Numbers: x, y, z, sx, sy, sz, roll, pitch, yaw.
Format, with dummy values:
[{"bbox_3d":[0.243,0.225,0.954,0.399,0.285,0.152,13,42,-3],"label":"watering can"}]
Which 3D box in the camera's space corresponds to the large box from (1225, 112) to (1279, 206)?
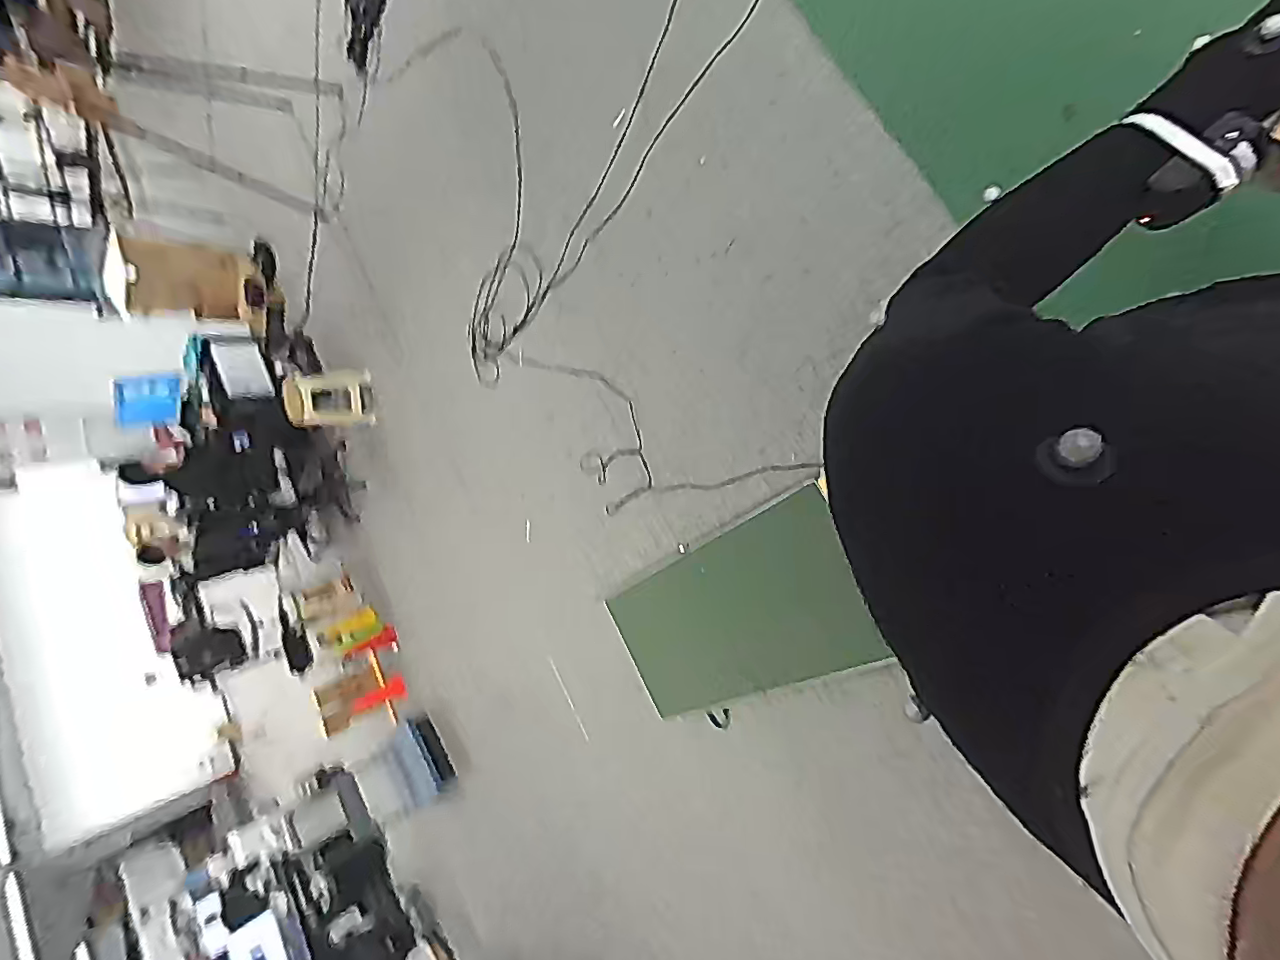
[{"bbox_3d":[0.738,-0.301,0.335,0.408,0.320,0.320,38,129,26],"label":"large box"}]
